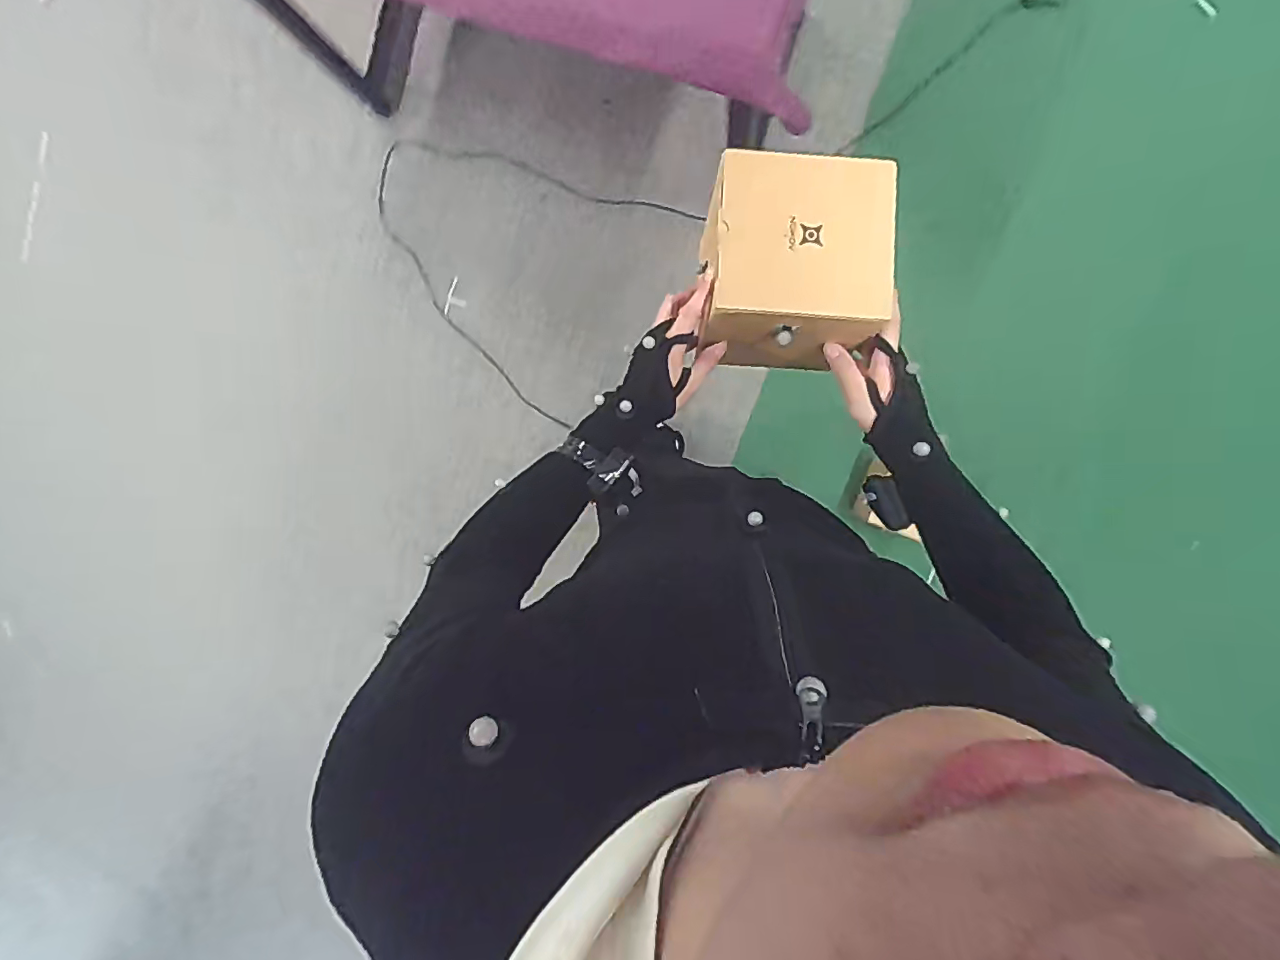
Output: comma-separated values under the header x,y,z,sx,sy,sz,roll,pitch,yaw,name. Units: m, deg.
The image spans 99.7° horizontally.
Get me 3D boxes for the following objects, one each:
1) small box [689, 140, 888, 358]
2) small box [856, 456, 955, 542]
x,y,z,sx,sy,sz,roll,pitch,yaw,name
0.152,-0.242,0.604,0.179,0.176,0.168,3,85,1,small box
0.710,0.045,1.474,0.168,0.176,0.179,21,98,5,small box
